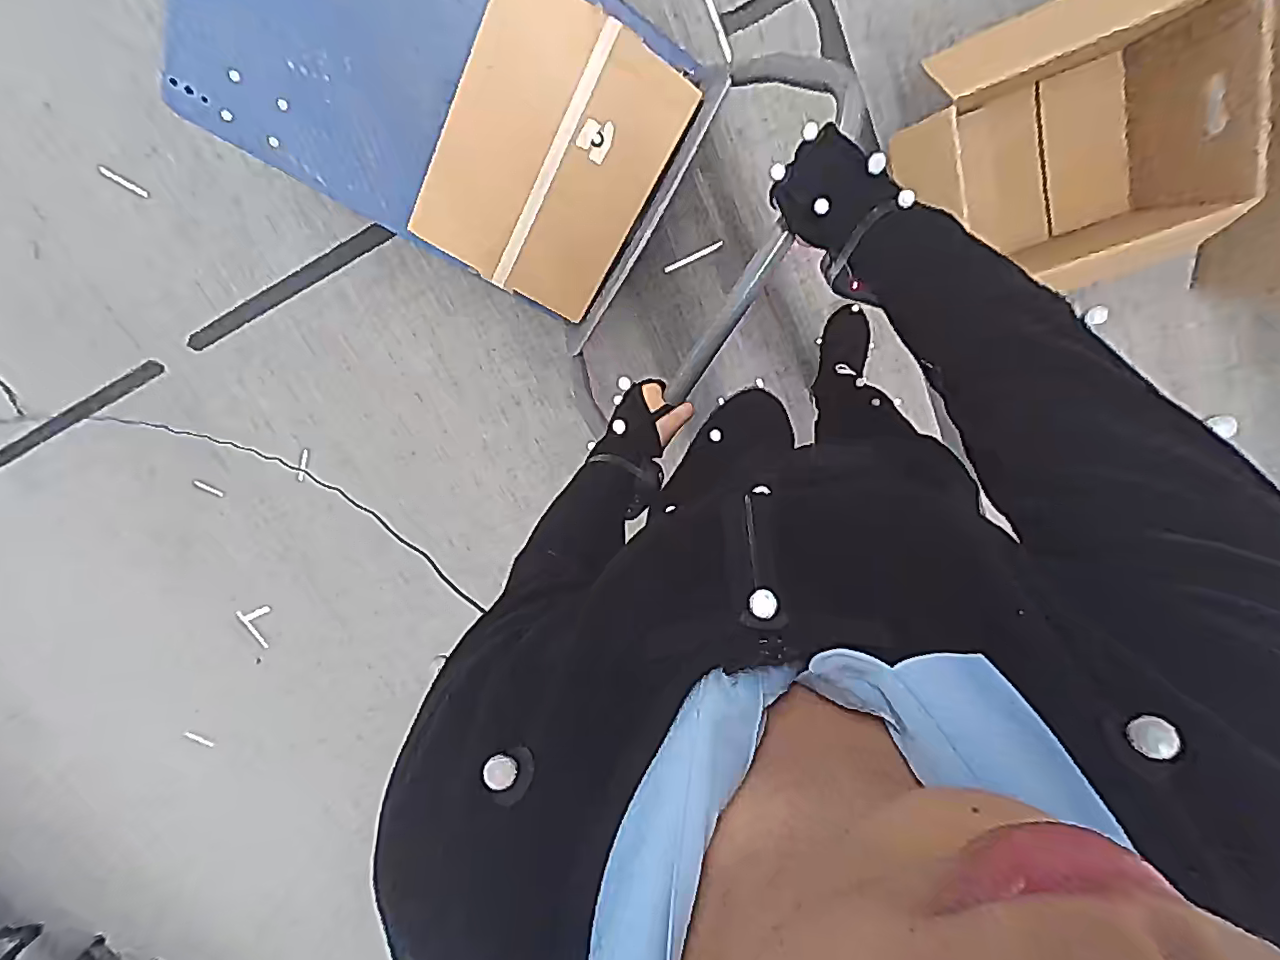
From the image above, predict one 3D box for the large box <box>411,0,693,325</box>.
[{"bbox_3d":[-0.160,-0.560,0.969,0.320,0.320,0.408,24,115,-21],"label":"large box"}]
